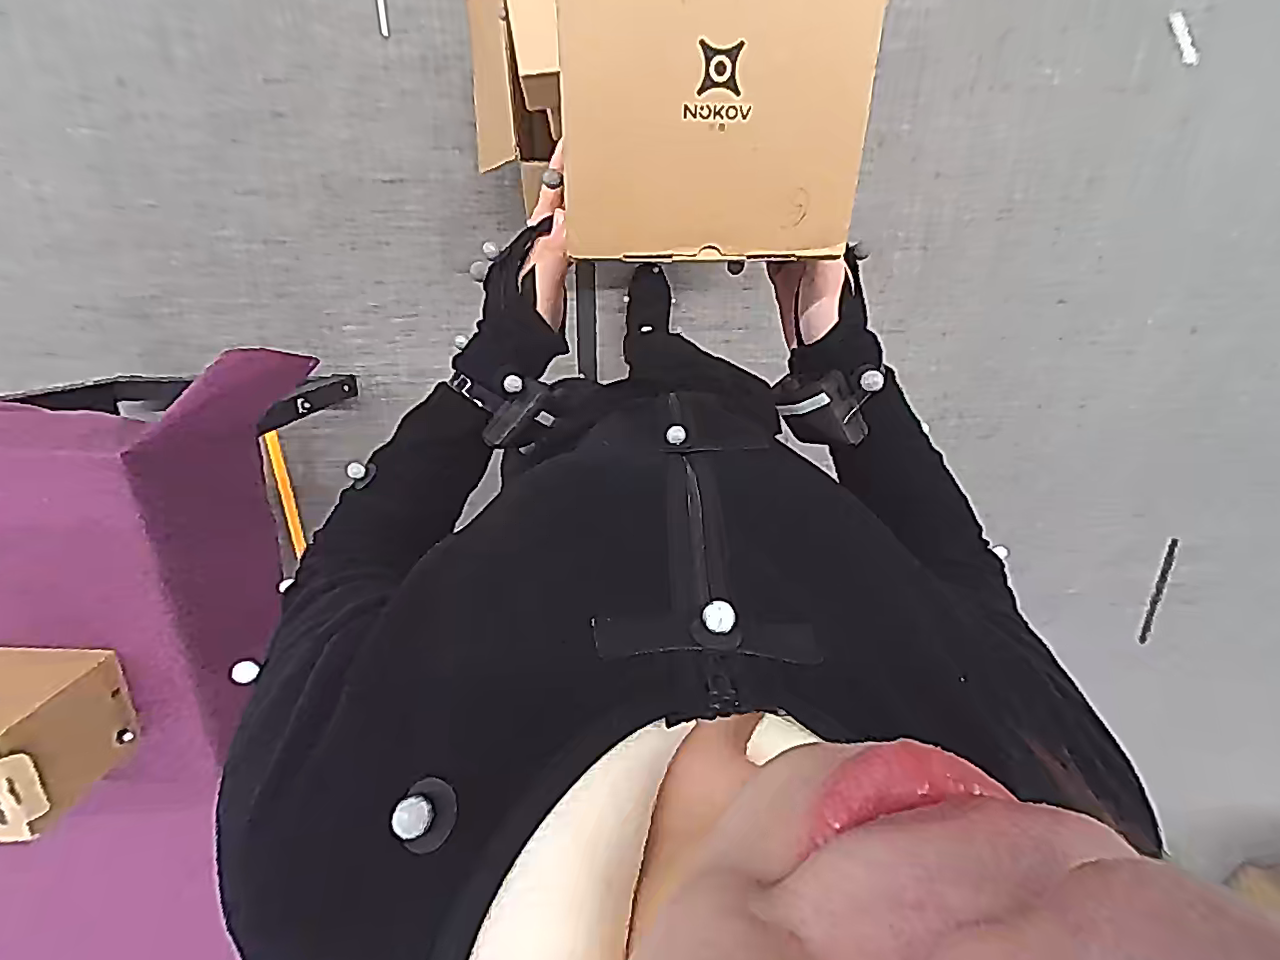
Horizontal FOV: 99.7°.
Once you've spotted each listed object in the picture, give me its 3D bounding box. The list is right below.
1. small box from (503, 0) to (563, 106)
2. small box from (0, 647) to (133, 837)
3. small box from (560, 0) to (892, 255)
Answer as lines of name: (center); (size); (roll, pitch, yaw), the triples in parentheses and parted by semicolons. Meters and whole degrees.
small box: (-0.078, -0.593, 0.681); (0.179, 0.176, 0.168); (-9, 114, -4)
small box: (-0.842, 0.344, 0.729); (0.179, 0.176, 0.168); (3, 109, -3)
small box: (0.036, -0.246, 0.345); (0.168, 0.176, 0.179); (-2, 117, -5)
